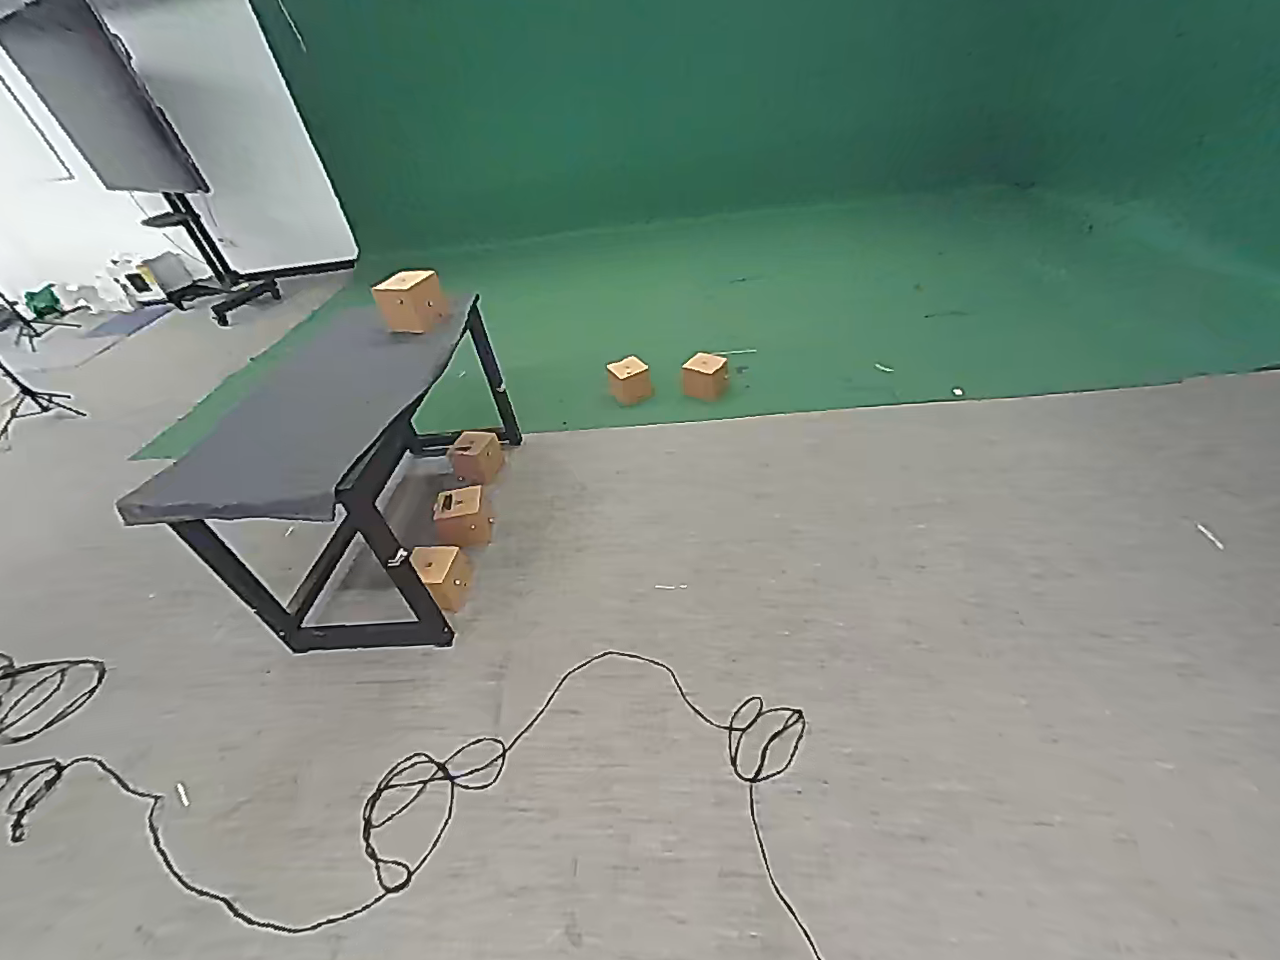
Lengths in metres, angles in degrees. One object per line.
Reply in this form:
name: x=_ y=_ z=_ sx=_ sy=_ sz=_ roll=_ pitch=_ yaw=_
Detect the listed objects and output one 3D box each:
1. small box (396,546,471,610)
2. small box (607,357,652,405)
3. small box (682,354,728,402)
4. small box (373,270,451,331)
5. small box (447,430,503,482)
small box: x=-0.732 y=0.354 z=1.942 sx=0.179 sy=0.176 sz=0.168 roll=-1 pitch=41 yaw=10
small box: x=-0.053 y=-0.515 z=2.826 sx=0.168 sy=0.176 sz=0.179 roll=-25 pitch=42 yaw=-18
small box: x=0.337 y=-0.515 z=2.754 sx=0.179 sy=0.176 sz=0.168 roll=22 pitch=48 yaw=32
small box: x=-0.841 y=-0.668 z=2.017 sx=0.179 sy=0.176 sz=0.168 roll=9 pitch=43 yaw=24
small box: x=-0.748 y=-0.107 z=2.477 sx=0.168 sy=0.176 sz=0.179 roll=5 pitch=41 yaw=16
